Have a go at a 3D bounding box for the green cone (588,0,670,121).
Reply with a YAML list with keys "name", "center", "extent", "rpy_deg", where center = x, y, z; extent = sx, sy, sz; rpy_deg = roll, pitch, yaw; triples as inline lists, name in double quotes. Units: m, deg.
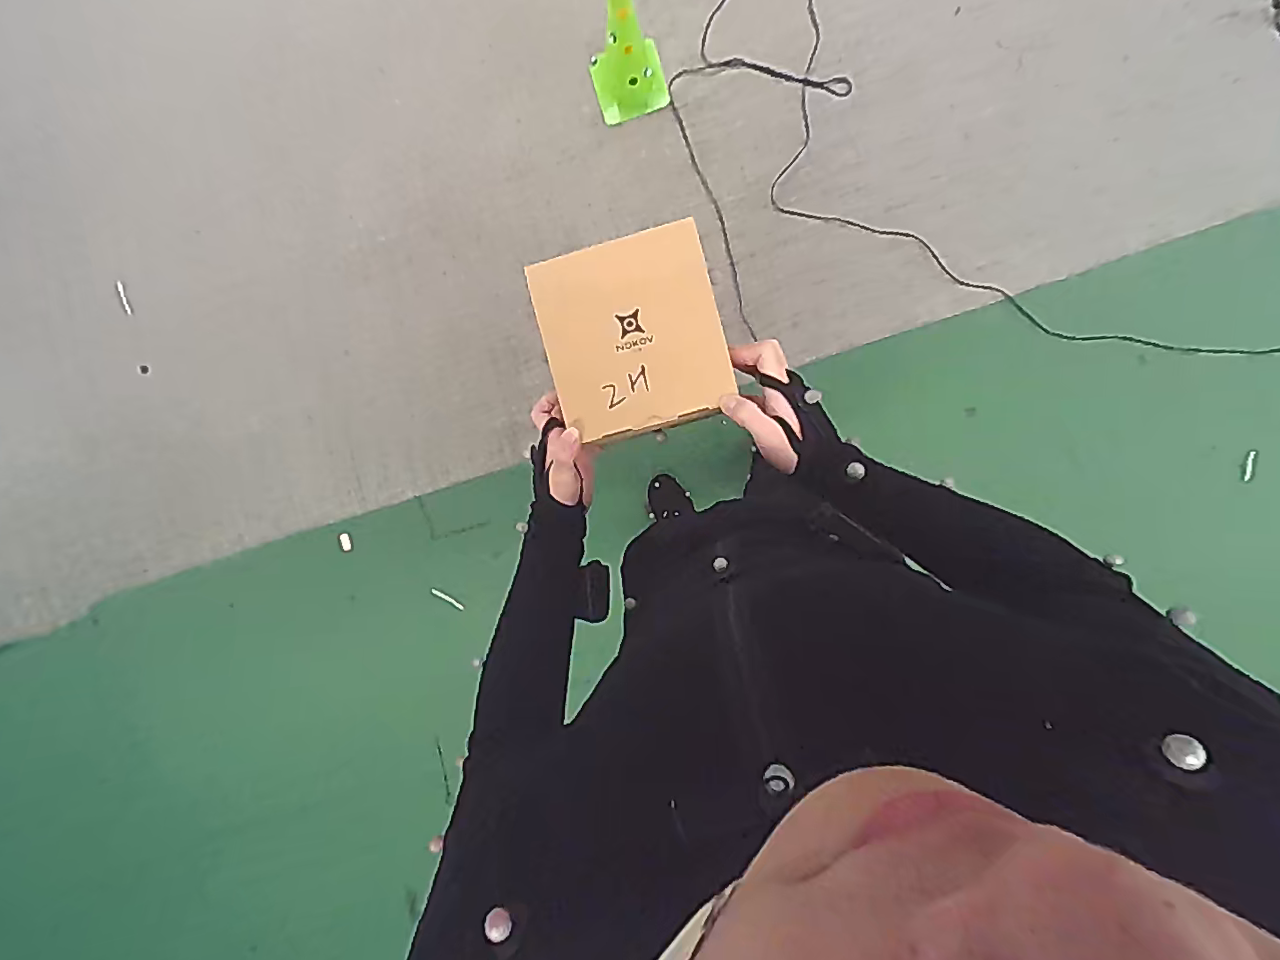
- name: "green cone"
  center: [-0.037, -1.139, 1.378]
  extent: [0.202, 0.368, 0.200]
  rpy_deg: [-17, 92, 3]
